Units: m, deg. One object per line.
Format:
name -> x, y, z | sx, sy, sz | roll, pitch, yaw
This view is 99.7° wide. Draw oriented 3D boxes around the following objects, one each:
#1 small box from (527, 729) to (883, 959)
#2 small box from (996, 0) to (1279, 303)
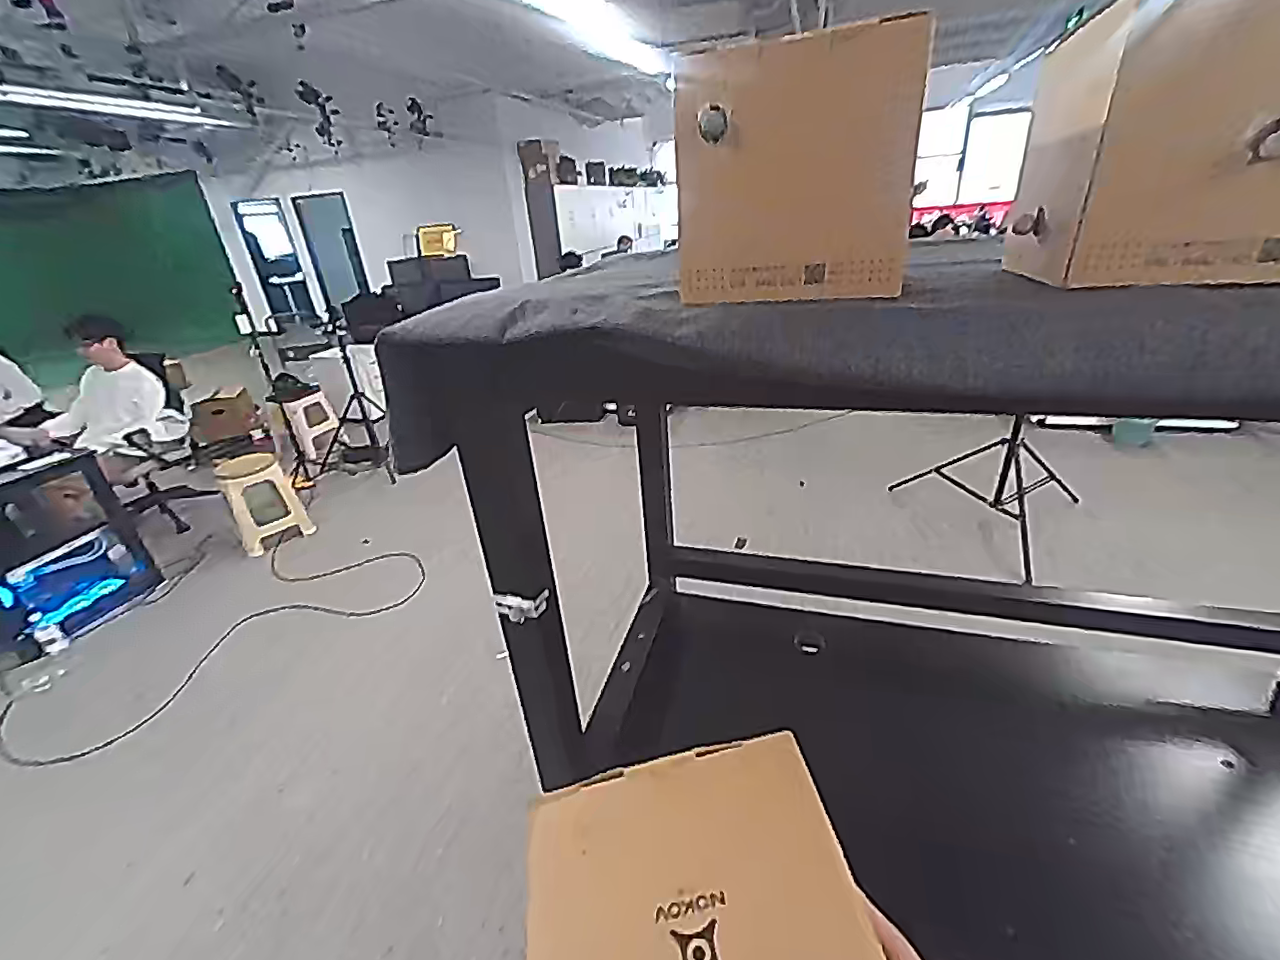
small box -> 0.039, 0.282, 0.307 | 0.168, 0.176, 0.179 | -15, 38, -2
small box -> 0.384, -0.223, 0.387 | 0.168, 0.176, 0.179 | 5, 26, 17
